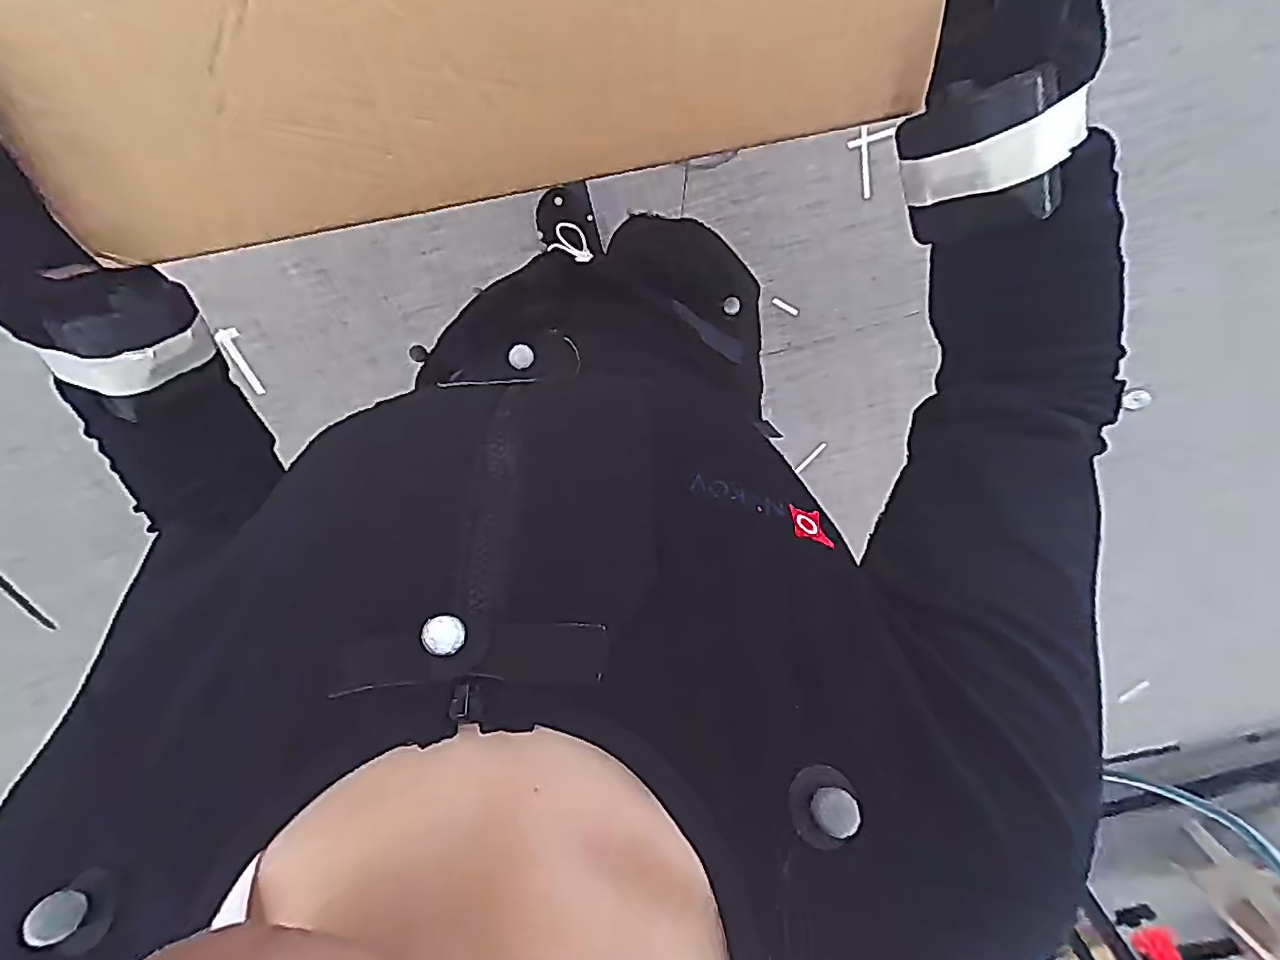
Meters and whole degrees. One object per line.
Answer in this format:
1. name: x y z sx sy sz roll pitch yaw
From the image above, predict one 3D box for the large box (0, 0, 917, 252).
1. large box: -0.105 -0.360 0.256 0.408 0.320 0.320 -9 136 3
